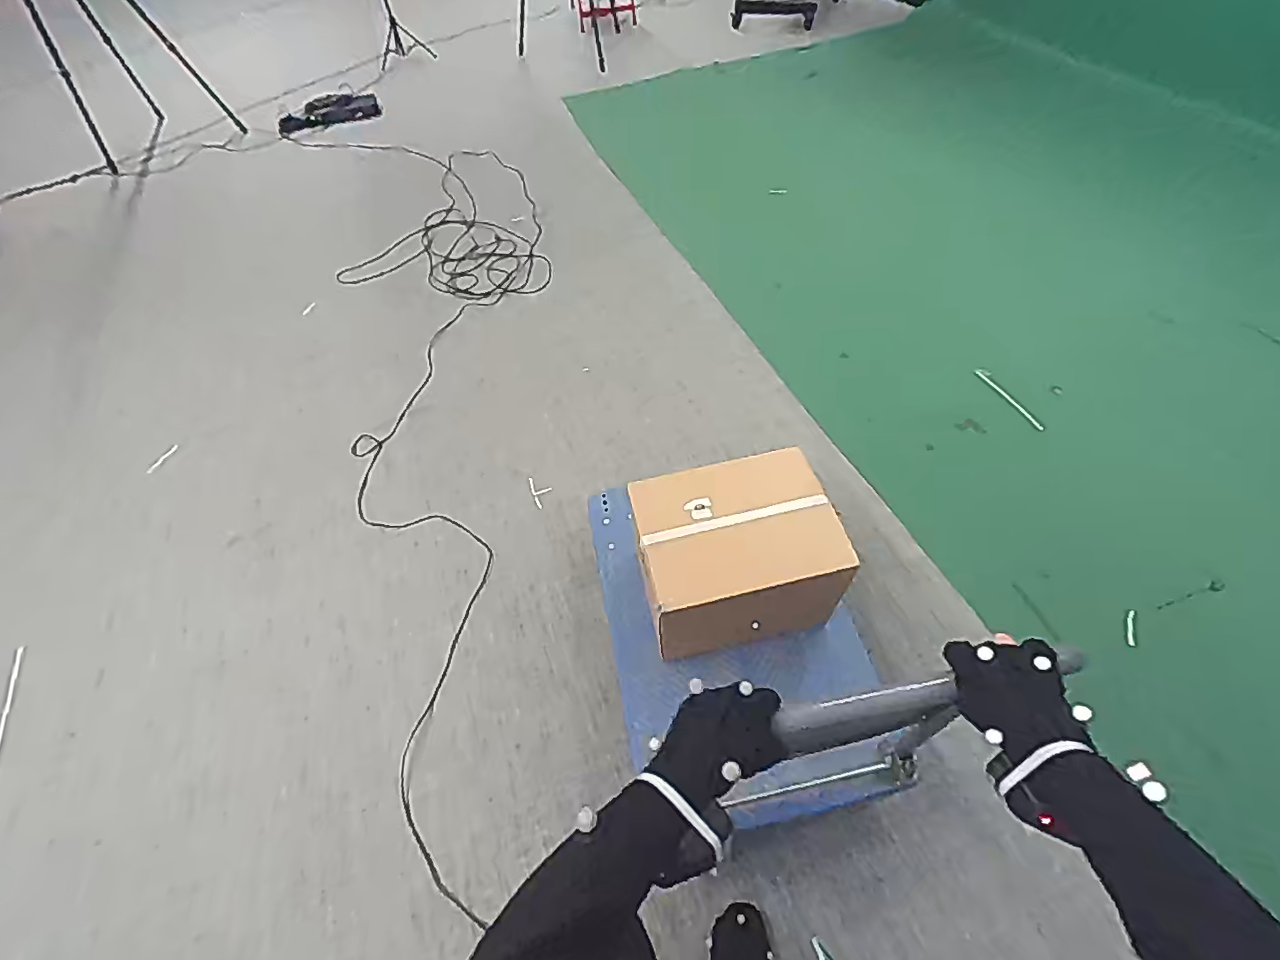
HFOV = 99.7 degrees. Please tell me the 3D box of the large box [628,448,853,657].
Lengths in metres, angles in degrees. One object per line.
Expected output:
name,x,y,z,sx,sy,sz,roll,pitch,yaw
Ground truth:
large box,0.209,0.175,1.255,0.408,0.320,0.320,-13,54,-4
